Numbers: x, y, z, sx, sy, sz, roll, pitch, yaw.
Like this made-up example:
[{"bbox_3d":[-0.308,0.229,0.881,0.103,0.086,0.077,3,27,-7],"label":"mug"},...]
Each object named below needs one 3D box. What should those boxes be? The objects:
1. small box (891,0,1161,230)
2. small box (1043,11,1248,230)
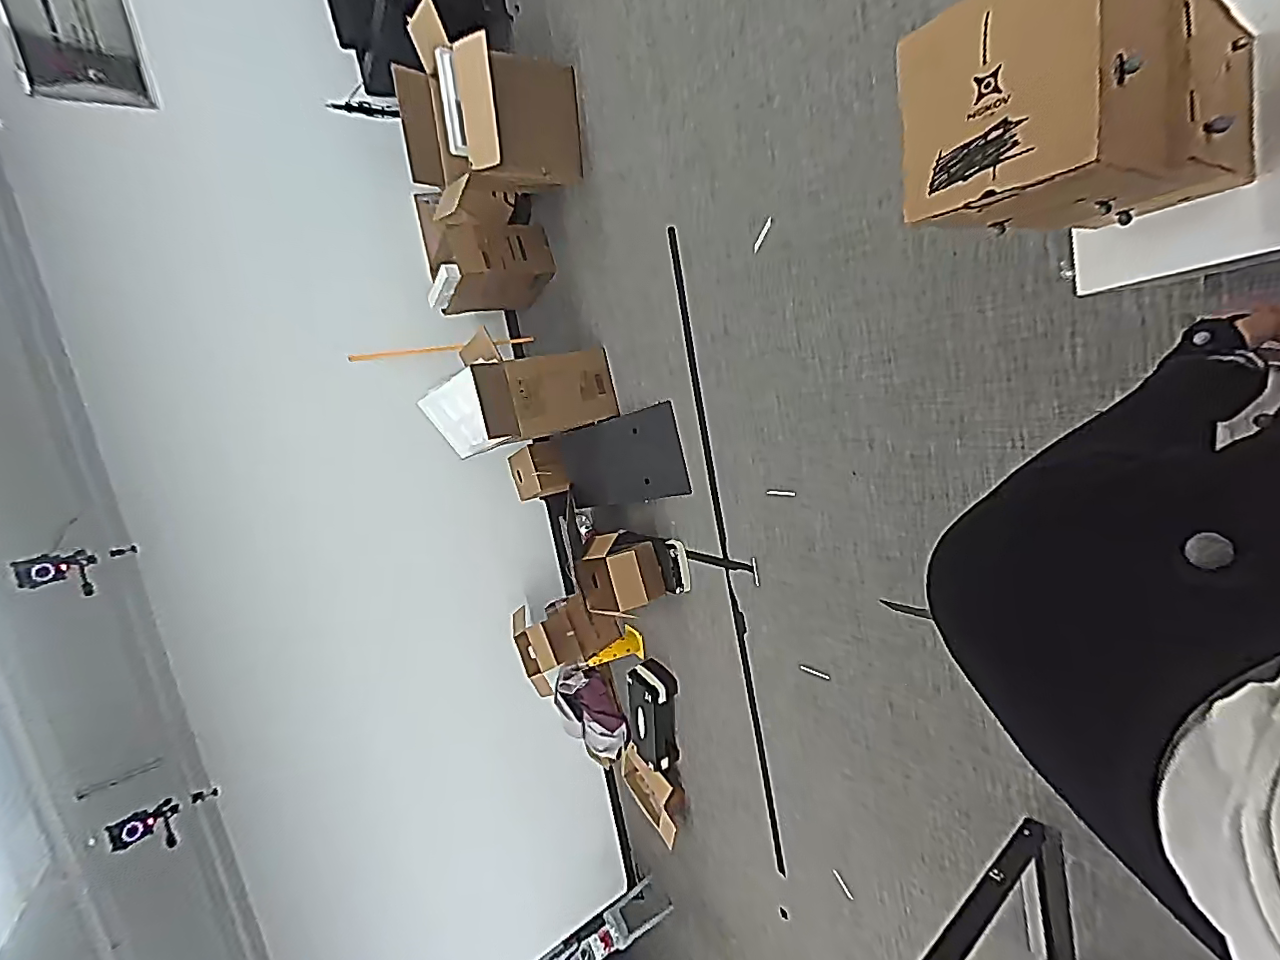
[{"bbox_3d":[0.373,-0.358,0.528,0.168,0.176,0.179,8,109,56],"label":"small box"},{"bbox_3d":[0.645,-0.439,0.695,0.168,0.176,0.179,2,105,56],"label":"small box"}]
